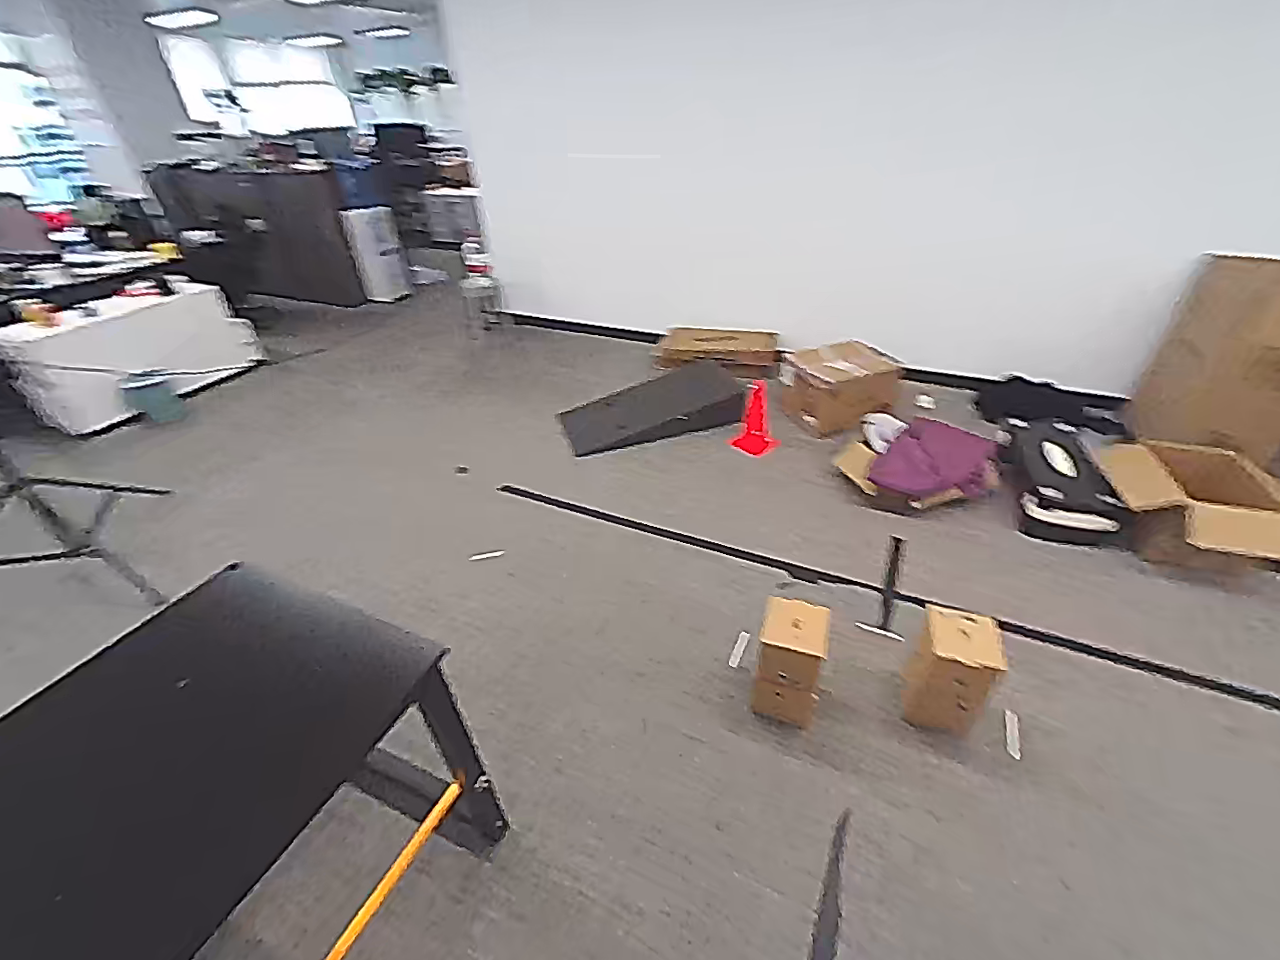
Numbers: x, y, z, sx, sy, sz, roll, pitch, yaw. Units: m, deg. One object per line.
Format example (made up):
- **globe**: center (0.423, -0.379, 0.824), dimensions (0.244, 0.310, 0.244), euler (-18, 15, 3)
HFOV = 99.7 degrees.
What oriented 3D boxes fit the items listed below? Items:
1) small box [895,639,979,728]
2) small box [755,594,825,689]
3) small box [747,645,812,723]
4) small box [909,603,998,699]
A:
- **small box**: center (0.869, 0.602, 1.596), dimensions (0.179, 0.176, 0.168), euler (10, 38, 17)
- **small box**: center (0.426, 0.460, 1.541), dimensions (0.168, 0.176, 0.179), euler (8, 38, 17)
- **small box**: center (0.428, 0.598, 1.628), dimensions (0.179, 0.176, 0.168), euler (12, 39, 19)
- **small box**: center (0.857, 0.474, 1.495), dimensions (0.168, 0.176, 0.179), euler (9, 38, 16)
